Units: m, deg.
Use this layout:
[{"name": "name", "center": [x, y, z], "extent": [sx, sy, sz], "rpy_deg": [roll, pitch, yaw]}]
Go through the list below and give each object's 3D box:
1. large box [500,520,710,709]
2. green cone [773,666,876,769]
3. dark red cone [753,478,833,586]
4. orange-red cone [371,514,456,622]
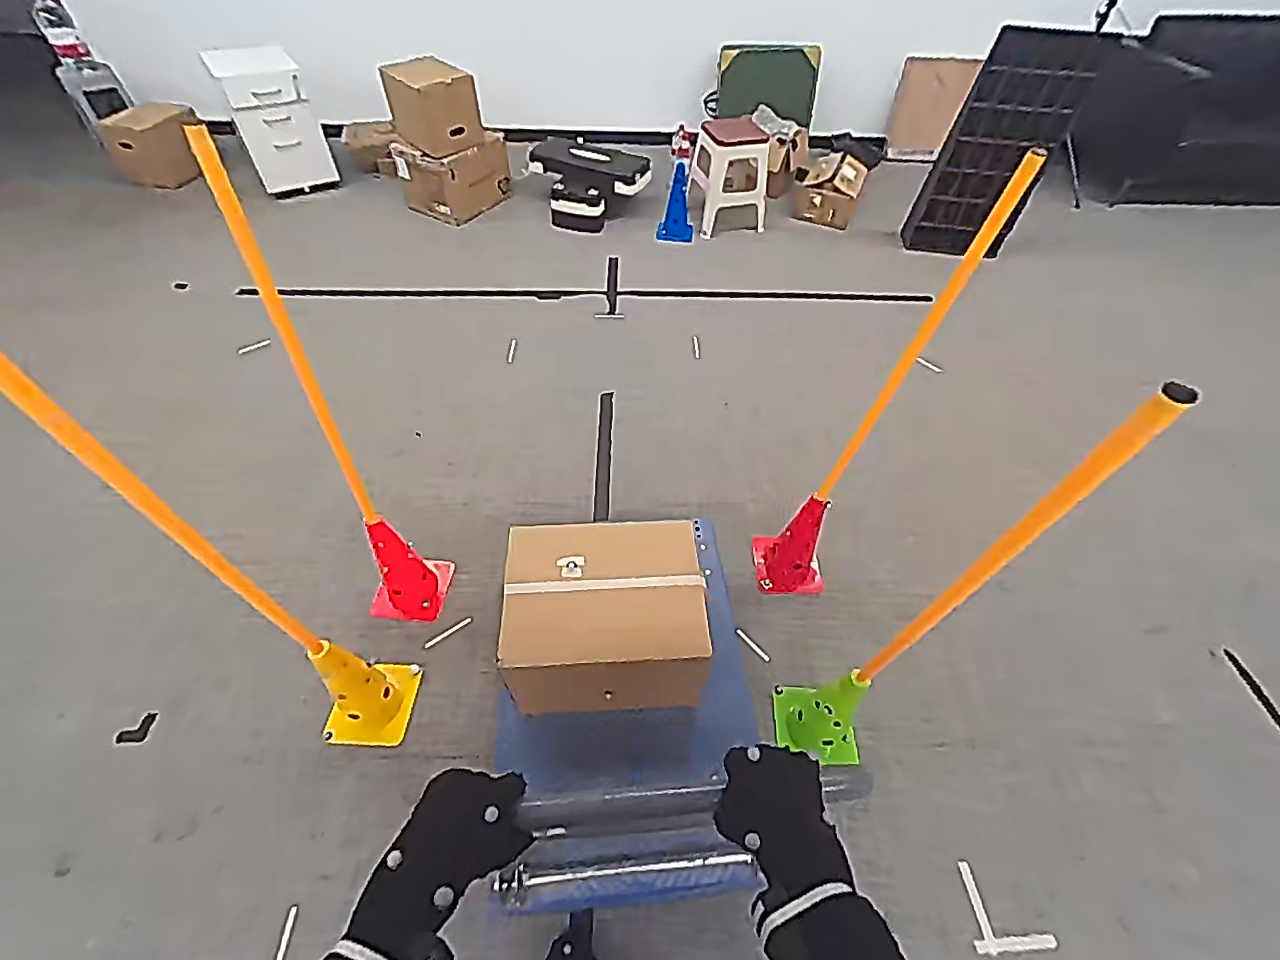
[{"name": "large box", "center": [-0.074, 0.311, 1.226], "extent": [0.408, 0.320, 0.320], "rpy_deg": [-2, 51, -3]}, {"name": "green cone", "center": [0.457, 0.521, 1.258], "extent": [0.202, 0.368, 0.200], "rpy_deg": [4, 51, 0]}, {"name": "dark red cone", "center": [0.470, 0.135, 1.553], "extent": [0.201, 0.394, 0.202], "rpy_deg": [2, 51, -3]}, {"name": "orange-red cone", "center": [-0.659, 0.210, 1.476], "extent": [0.198, 0.360, 0.199], "rpy_deg": [7, 49, 2]}]
